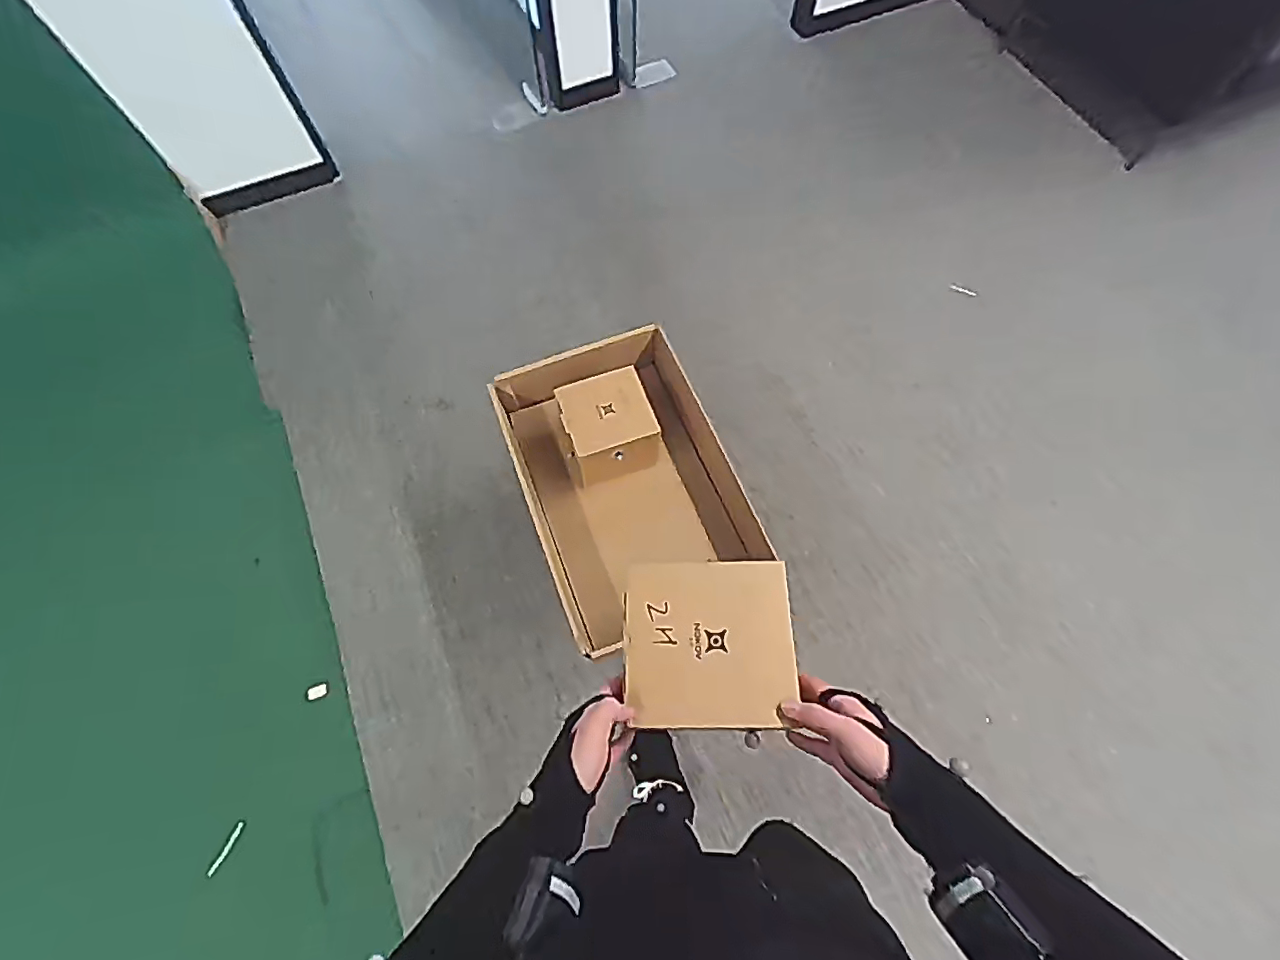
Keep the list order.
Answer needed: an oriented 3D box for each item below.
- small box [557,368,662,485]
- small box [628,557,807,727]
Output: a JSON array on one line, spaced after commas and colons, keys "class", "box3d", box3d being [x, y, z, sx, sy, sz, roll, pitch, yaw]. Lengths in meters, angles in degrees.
[{"class": "small box", "box3d": [-0.062, -0.107, 1.150, 0.179, 0.176, 0.168, -17, 69, -9]}, {"class": "small box", "box3d": [0.080, 0.192, 0.626, 0.179, 0.176, 0.168, 0, 64, 3]}]
